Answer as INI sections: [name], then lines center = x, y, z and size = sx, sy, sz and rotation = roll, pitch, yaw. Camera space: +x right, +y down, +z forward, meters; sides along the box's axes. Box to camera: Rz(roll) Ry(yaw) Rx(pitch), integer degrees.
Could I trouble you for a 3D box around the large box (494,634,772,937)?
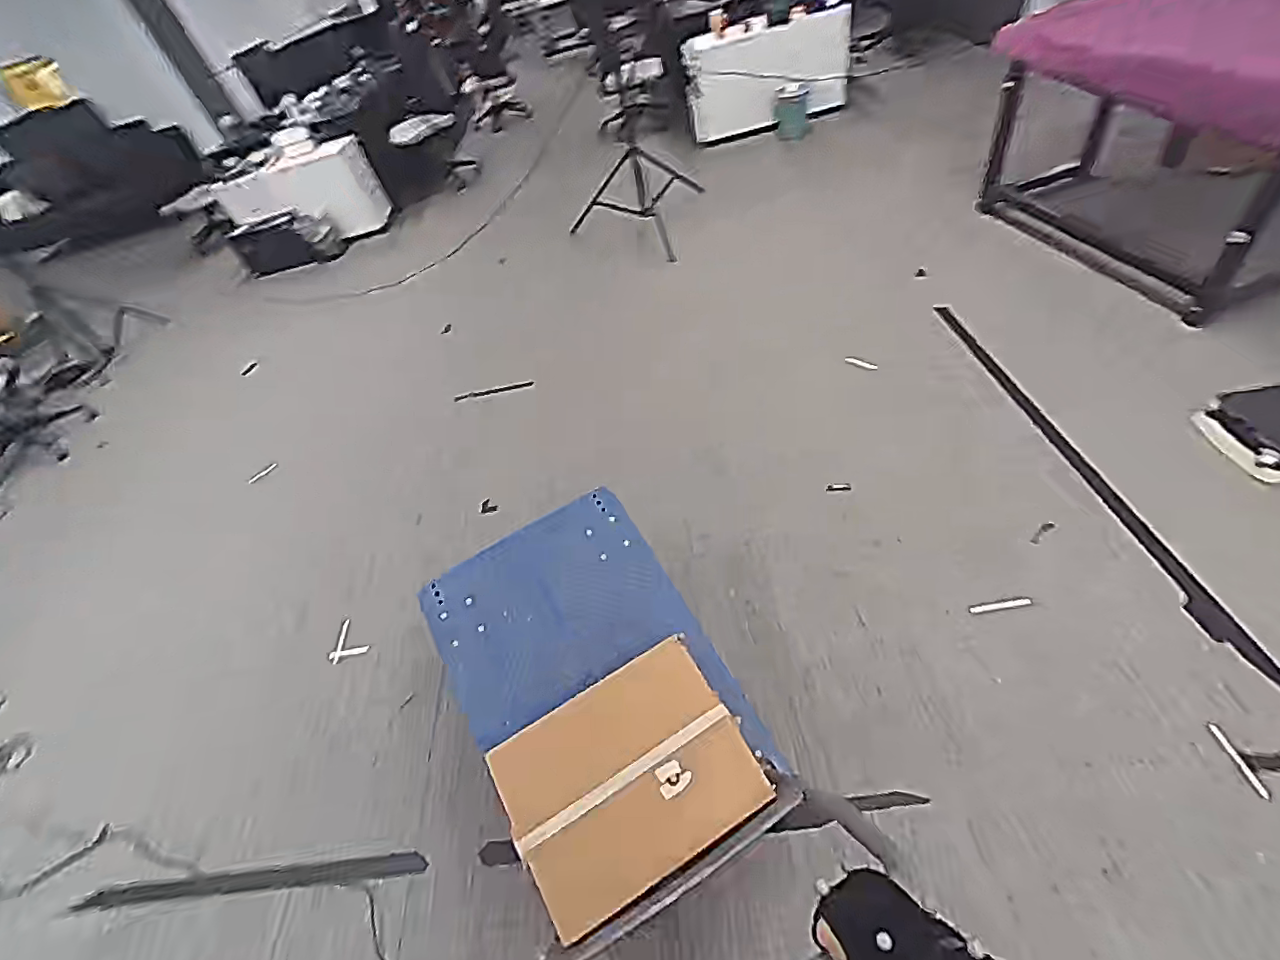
[large box]
center = -0.011, 0.575, 1.076
size = 0.408, 0.320, 0.320
rotation = -29, 66, -12
